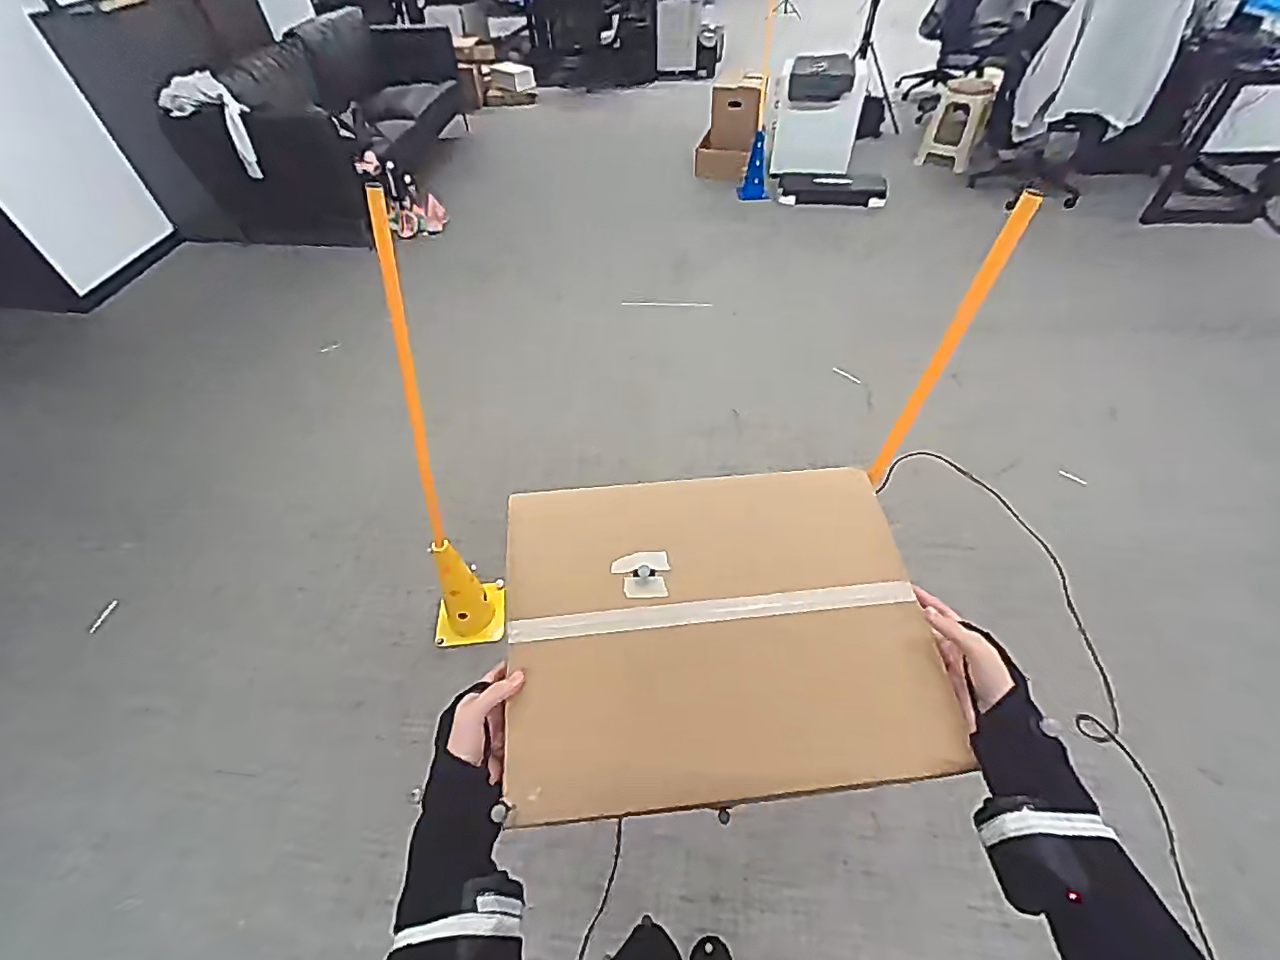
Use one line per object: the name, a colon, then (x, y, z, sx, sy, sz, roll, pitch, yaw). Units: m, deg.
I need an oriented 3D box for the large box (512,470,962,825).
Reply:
large box: (0.074, 0.216, 0.668, 0.408, 0.320, 0.320, -6, 57, -4)
